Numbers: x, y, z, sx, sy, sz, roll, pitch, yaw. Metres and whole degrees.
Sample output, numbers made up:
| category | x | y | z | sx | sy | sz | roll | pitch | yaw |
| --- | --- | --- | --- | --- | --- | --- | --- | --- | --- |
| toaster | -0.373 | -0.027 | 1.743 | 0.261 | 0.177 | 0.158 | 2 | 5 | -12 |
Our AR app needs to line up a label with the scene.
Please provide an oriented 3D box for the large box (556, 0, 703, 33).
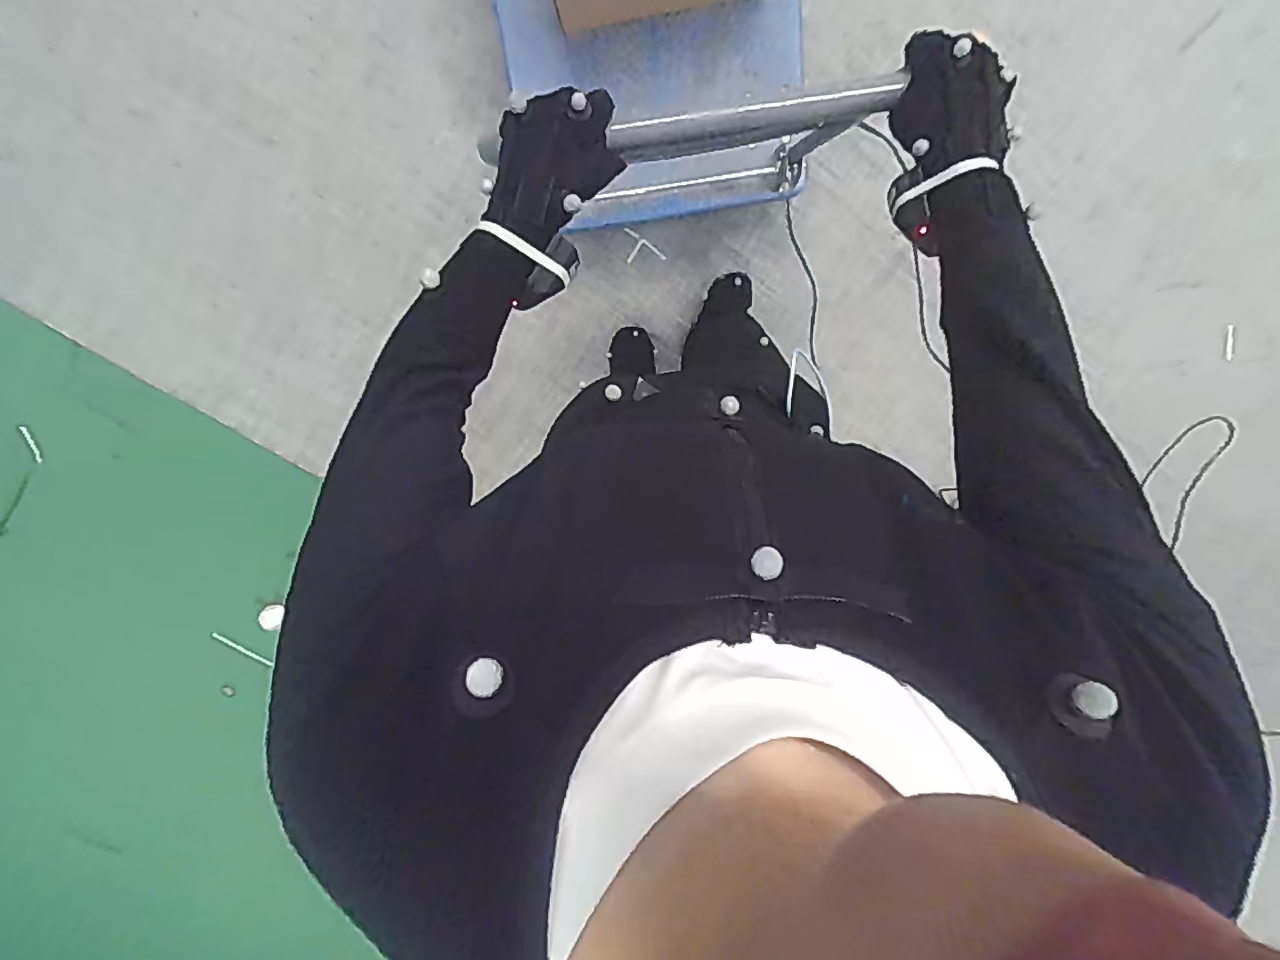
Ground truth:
| category | x | y | z | sx | sy | sz | roll | pitch | yaw |
| --- | --- | --- | --- | --- | --- | --- | --- | --- | --- |
| large box | 0.025 | -0.981 | 0.837 | 0.408 | 0.320 | 0.320 | -11 | 108 | 3 |
